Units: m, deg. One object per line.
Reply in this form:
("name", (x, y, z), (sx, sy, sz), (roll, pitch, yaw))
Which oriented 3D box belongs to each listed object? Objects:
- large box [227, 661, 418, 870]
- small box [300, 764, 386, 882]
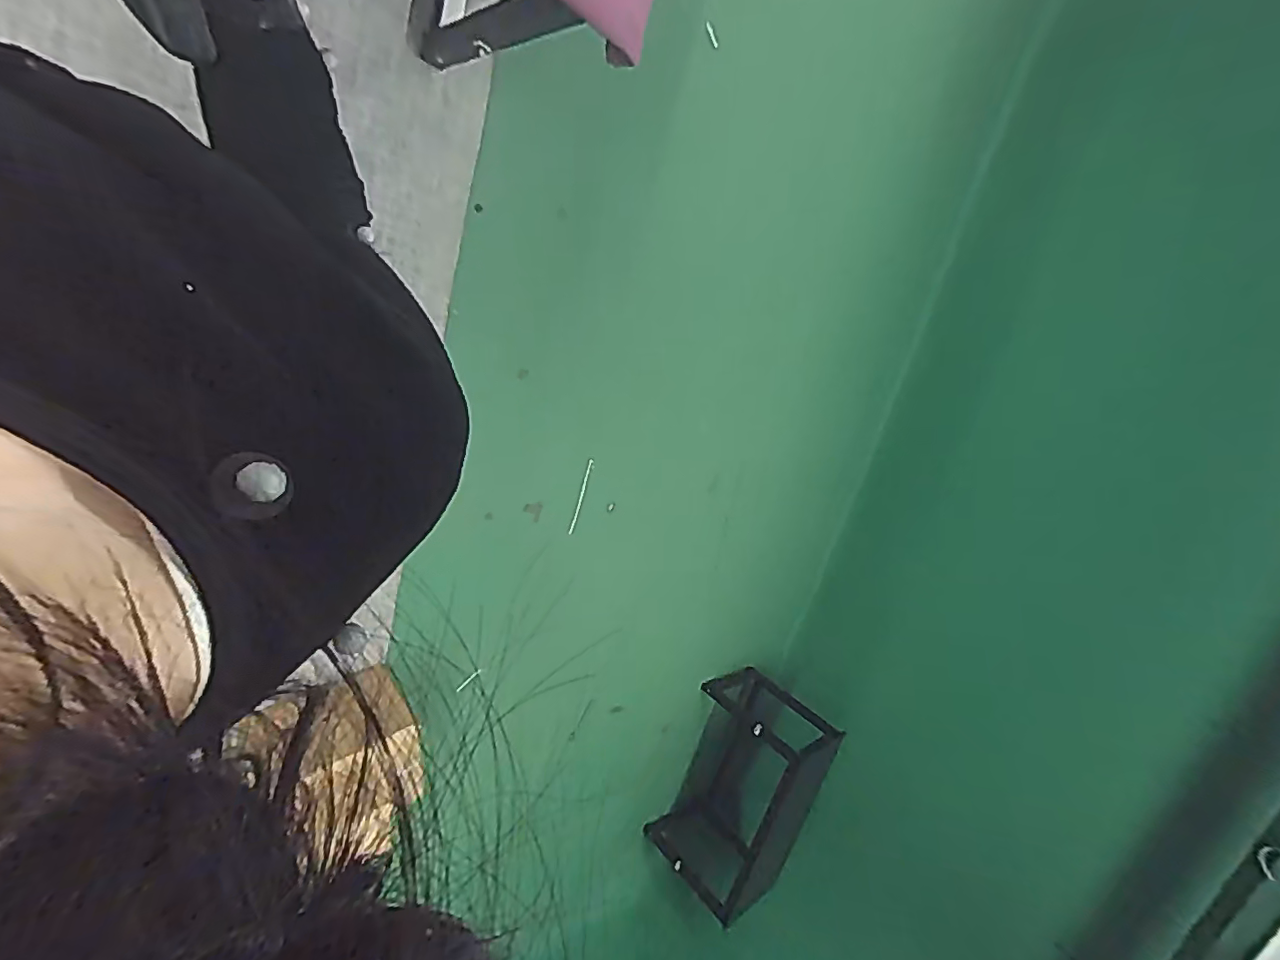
("large box", (-0.935, 0.822, 1.616), (0.408, 0.320, 0.320), (-17, 124, -41))
("small box", (-0.785, 0.889, 1.427), (0.168, 0.176, 0.179), (-9, 117, -42))
